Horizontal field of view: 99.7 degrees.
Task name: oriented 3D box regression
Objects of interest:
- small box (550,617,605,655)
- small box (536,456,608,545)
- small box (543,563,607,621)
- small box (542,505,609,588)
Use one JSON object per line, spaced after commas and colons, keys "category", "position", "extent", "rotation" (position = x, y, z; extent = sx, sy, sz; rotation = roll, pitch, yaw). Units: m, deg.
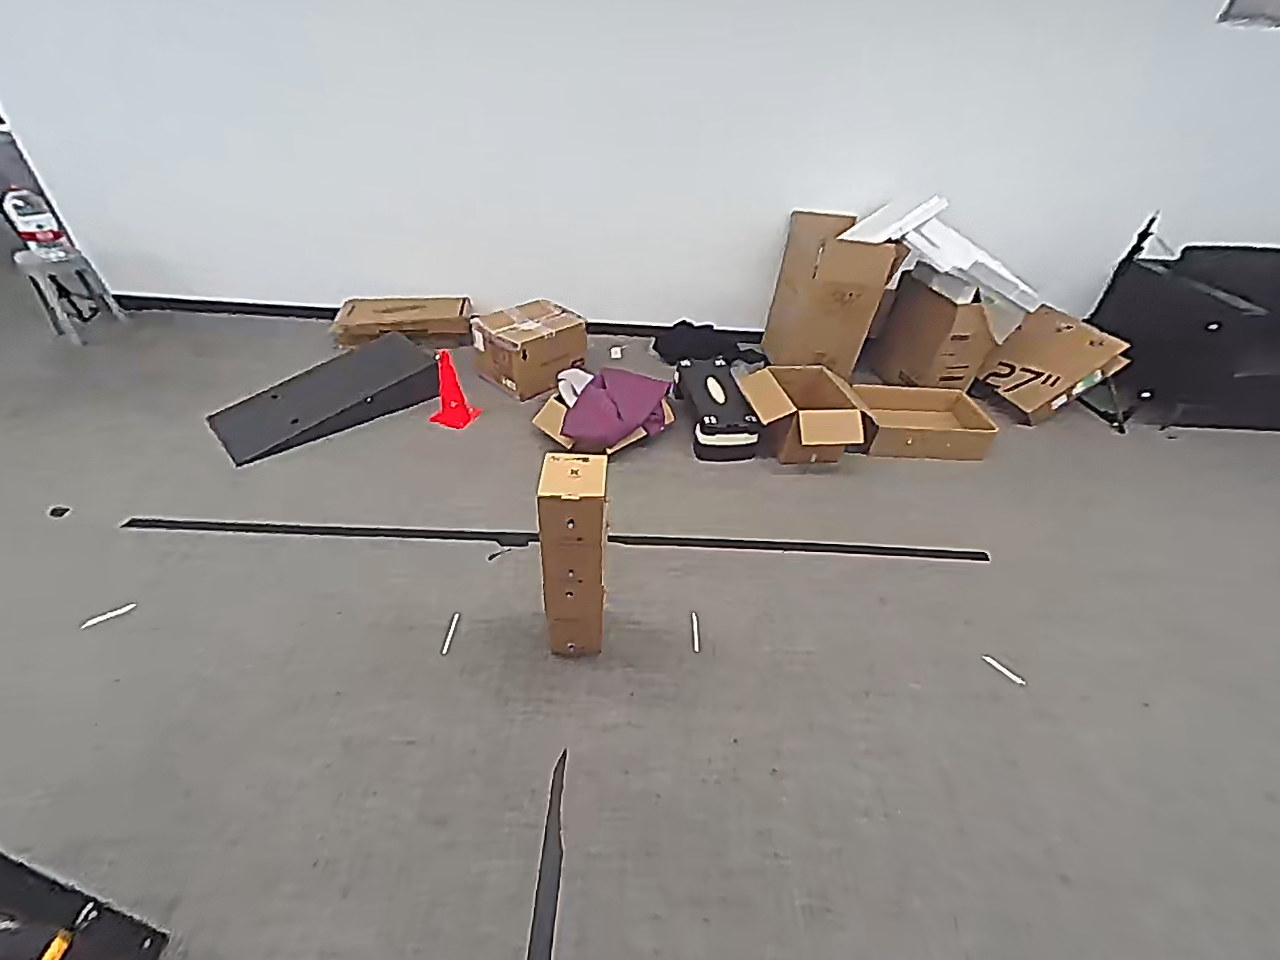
{"category": "small box", "position": [-0.199, 0.439, 1.732], "extent": [0.168, 0.176, 0.179], "rotation": [-1, 40, -5]}
{"category": "small box", "position": [-0.172, 0.055, 1.424], "extent": [0.168, 0.176, 0.179], "rotation": [2, 40, -2]}
{"category": "small box", "position": [-0.190, 0.310, 1.630], "extent": [0.179, 0.176, 0.168], "rotation": [2, 39, -3]}
{"category": "small box", "position": [-0.178, 0.181, 1.528], "extent": [0.168, 0.176, 0.179], "rotation": [4, 39, 0]}
